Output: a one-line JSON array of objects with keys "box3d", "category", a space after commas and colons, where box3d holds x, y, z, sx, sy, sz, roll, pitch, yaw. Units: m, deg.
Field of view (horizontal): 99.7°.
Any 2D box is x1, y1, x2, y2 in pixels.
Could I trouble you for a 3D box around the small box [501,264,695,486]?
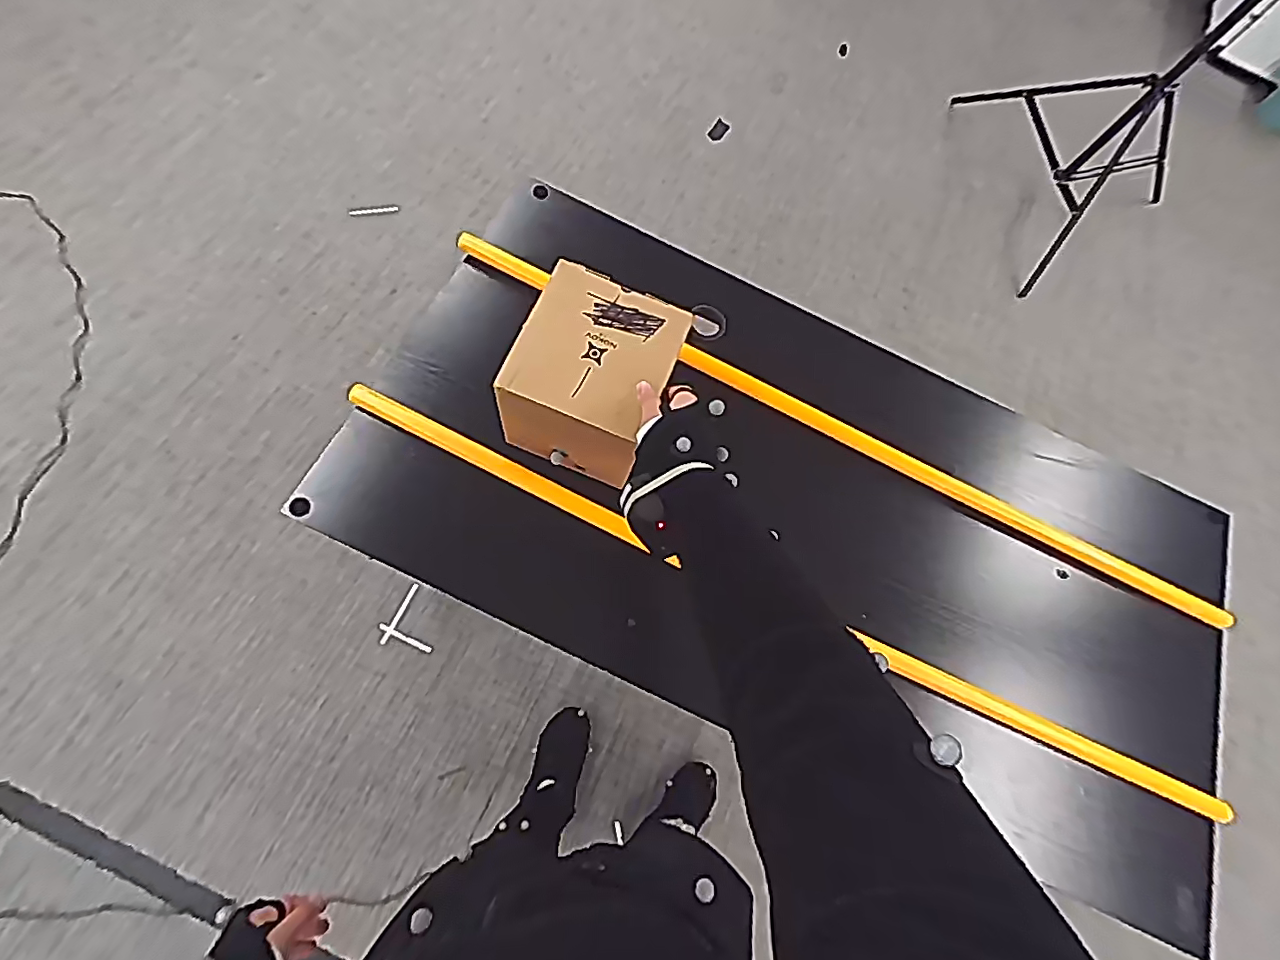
[{"box3d": [-0.053, -0.117, 0.662, 0.168, 0.176, 0.179, 22, 71, -1], "category": "small box"}]
